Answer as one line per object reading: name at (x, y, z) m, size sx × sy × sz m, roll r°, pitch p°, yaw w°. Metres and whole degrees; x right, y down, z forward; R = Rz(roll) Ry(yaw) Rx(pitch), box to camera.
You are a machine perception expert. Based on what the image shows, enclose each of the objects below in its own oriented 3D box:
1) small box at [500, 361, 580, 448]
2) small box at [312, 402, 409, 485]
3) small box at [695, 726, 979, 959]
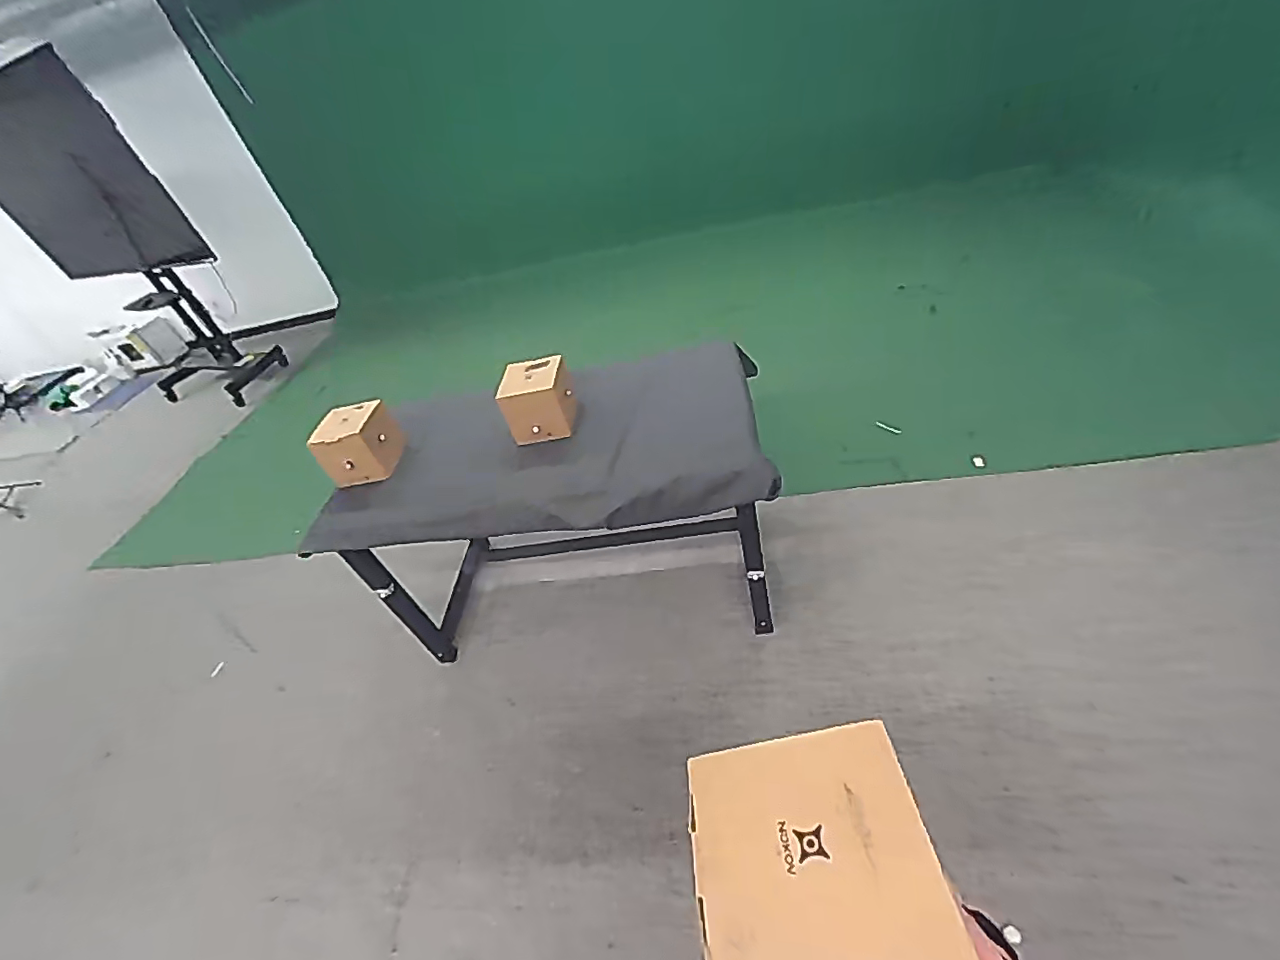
small box at (-0.276, -0.215, 1.549) m, size 0.168 × 0.176 × 0.179 m, roll -8°, pitch 42°, yaw 10°
small box at (-0.814, -0.101, 1.598) m, size 0.168 × 0.176 × 0.179 m, roll -9°, pitch 41°, yaw 8°
small box at (0.159, 0.345, 0.463) m, size 0.179 × 0.176 × 0.168 m, roll -16°, pitch 36°, yaw 9°
